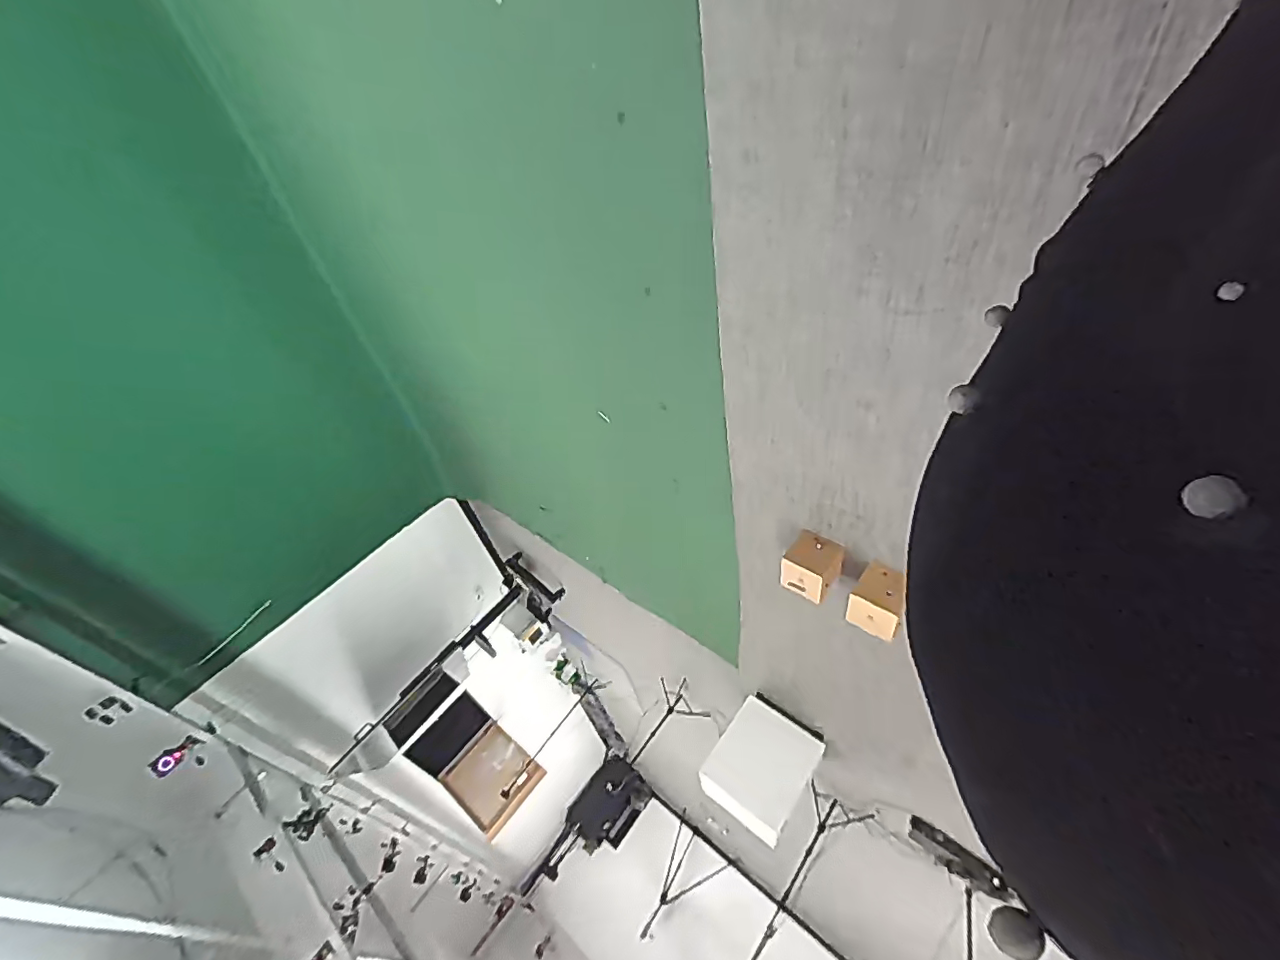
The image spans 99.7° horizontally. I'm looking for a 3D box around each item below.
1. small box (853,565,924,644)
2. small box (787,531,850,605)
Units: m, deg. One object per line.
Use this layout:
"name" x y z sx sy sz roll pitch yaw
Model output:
"small box" 0.869 0.429 1.890 0.168 0.176 0.179 25 146 35
"small box" 0.670 0.328 2.031 0.168 0.176 0.179 26 145 34
